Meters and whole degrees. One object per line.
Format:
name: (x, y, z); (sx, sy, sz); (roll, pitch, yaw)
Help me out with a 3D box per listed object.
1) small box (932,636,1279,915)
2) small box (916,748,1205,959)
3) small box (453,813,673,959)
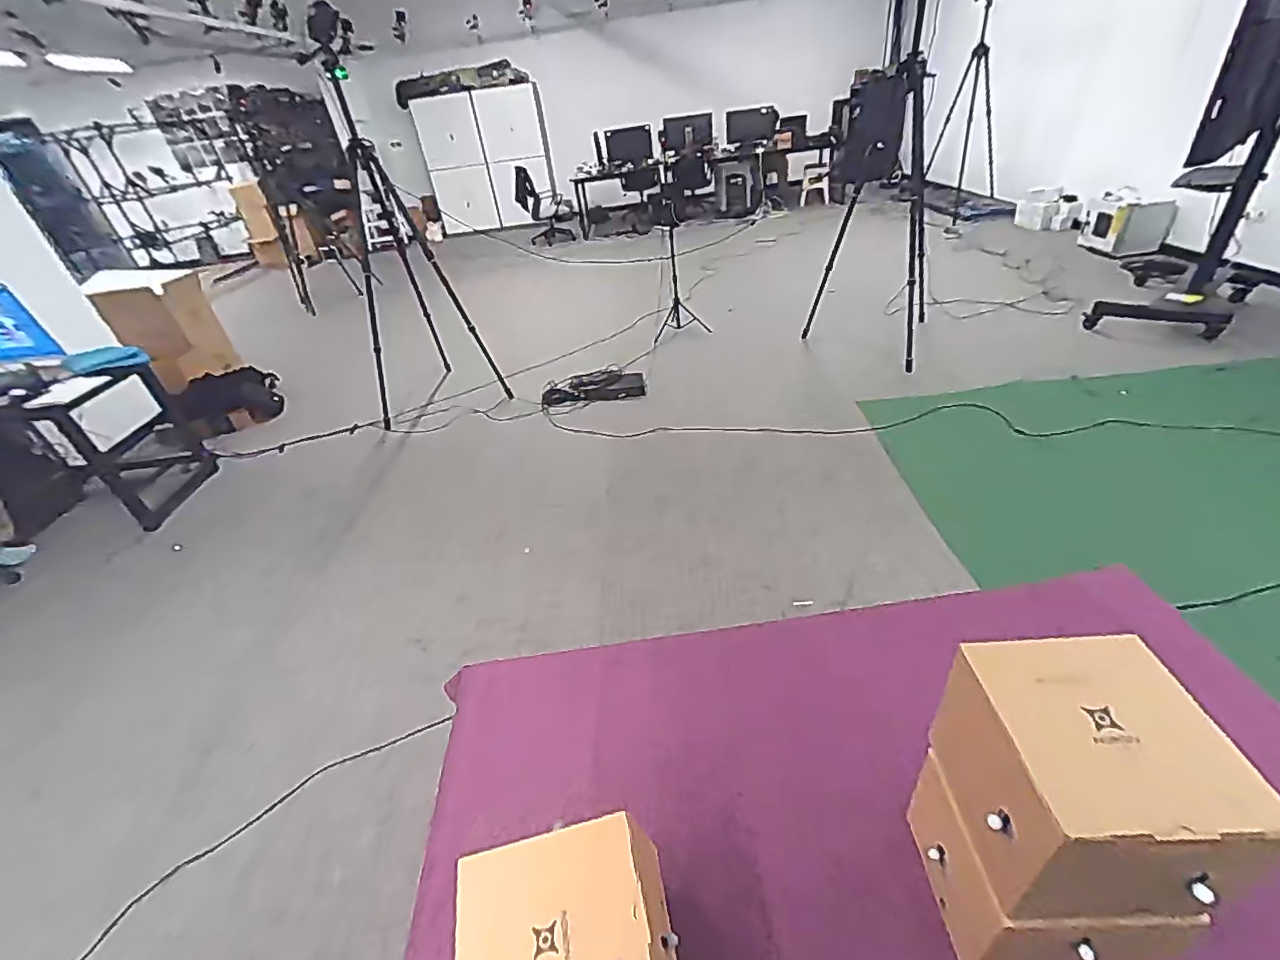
small box: (0.396, 0.270, 0.498); (0.168, 0.176, 0.179); (-5, 34, 6)
small box: (0.418, 0.407, 0.583); (0.179, 0.176, 0.168); (-5, 35, 6)
small box: (-0.067, 0.462, 0.531); (0.179, 0.176, 0.168); (-16, 44, -2)
